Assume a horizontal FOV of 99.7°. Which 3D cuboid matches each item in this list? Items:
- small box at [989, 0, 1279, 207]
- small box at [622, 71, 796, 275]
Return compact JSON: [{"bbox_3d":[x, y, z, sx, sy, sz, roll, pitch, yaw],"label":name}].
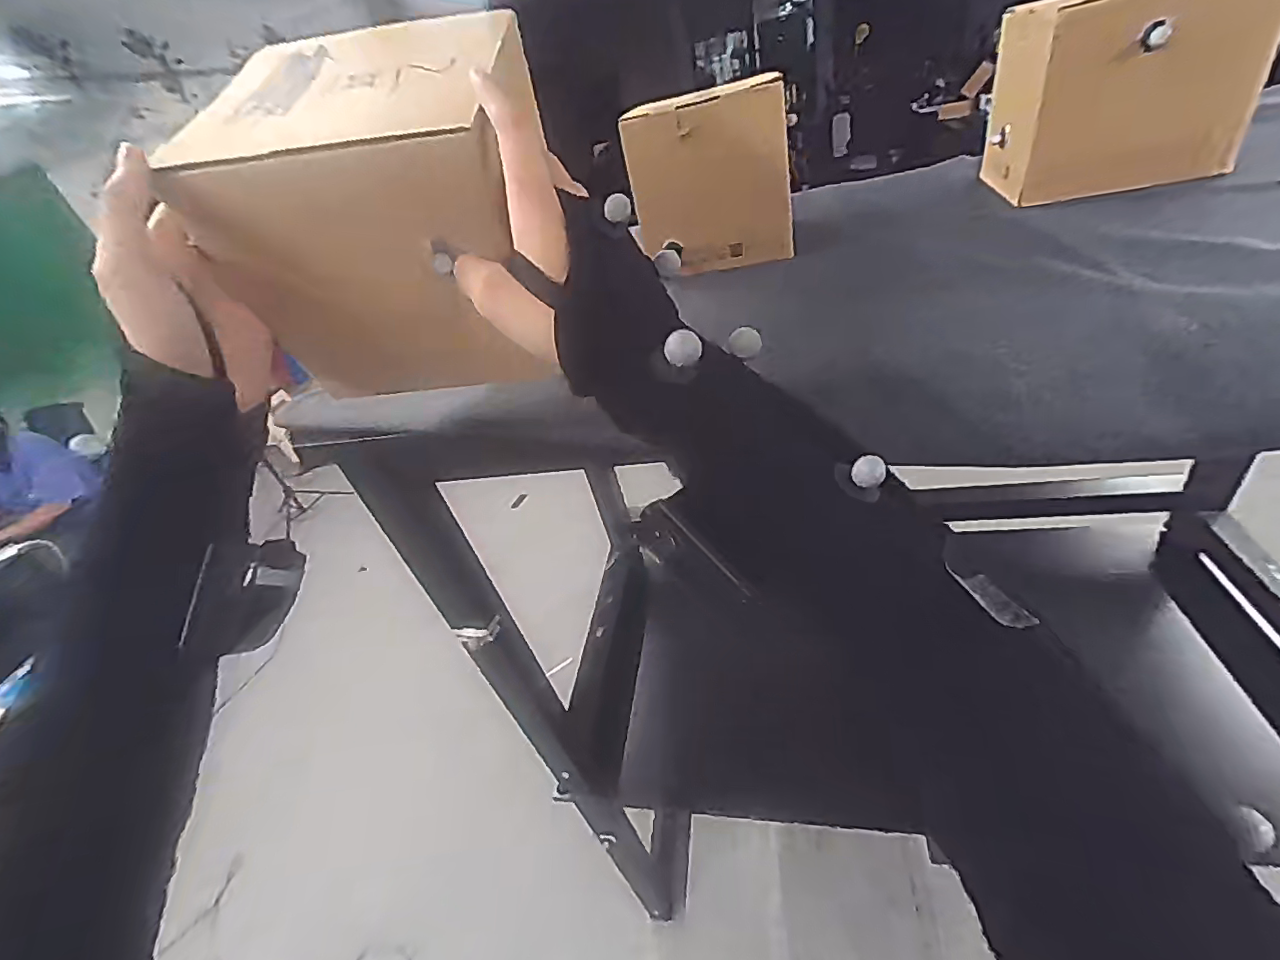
[{"bbox_3d":[0.484,-0.400,0.550,0.179,0.176,0.168,-3,37,19],"label":"small box"},{"bbox_3d":[0.091,-0.354,0.637,0.168,0.176,0.179,-4,36,16],"label":"small box"}]
